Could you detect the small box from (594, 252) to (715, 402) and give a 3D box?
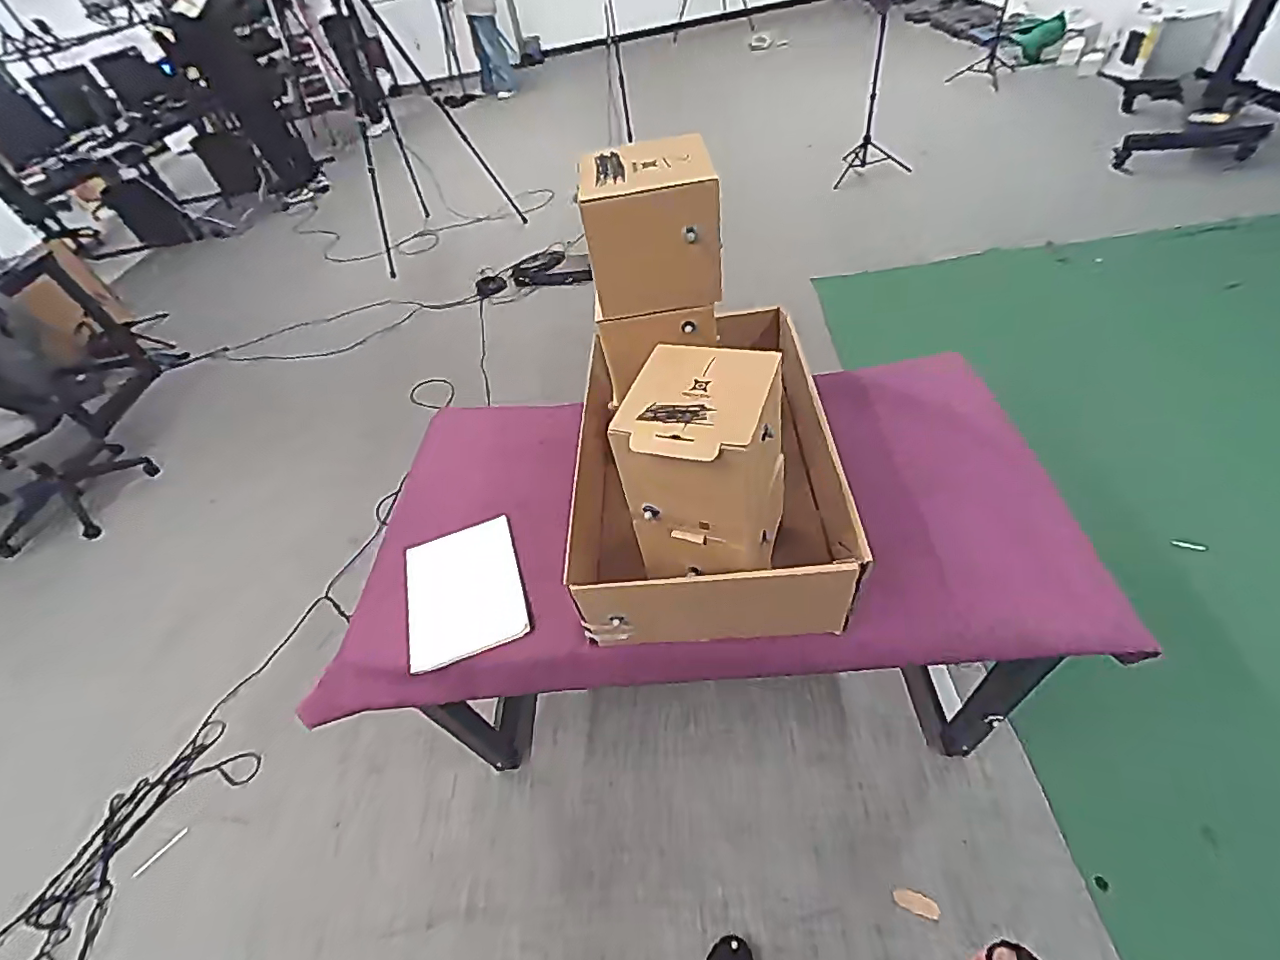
[{"bbox_3d":[0.029,-0.246,0.889,0.179,0.176,0.168,-7,49,5],"label":"small box"}]

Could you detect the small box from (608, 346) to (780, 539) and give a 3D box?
[{"bbox_3d":[0.081,-0.048,0.692,0.168,0.176,0.179,10,50,22],"label":"small box"}]
